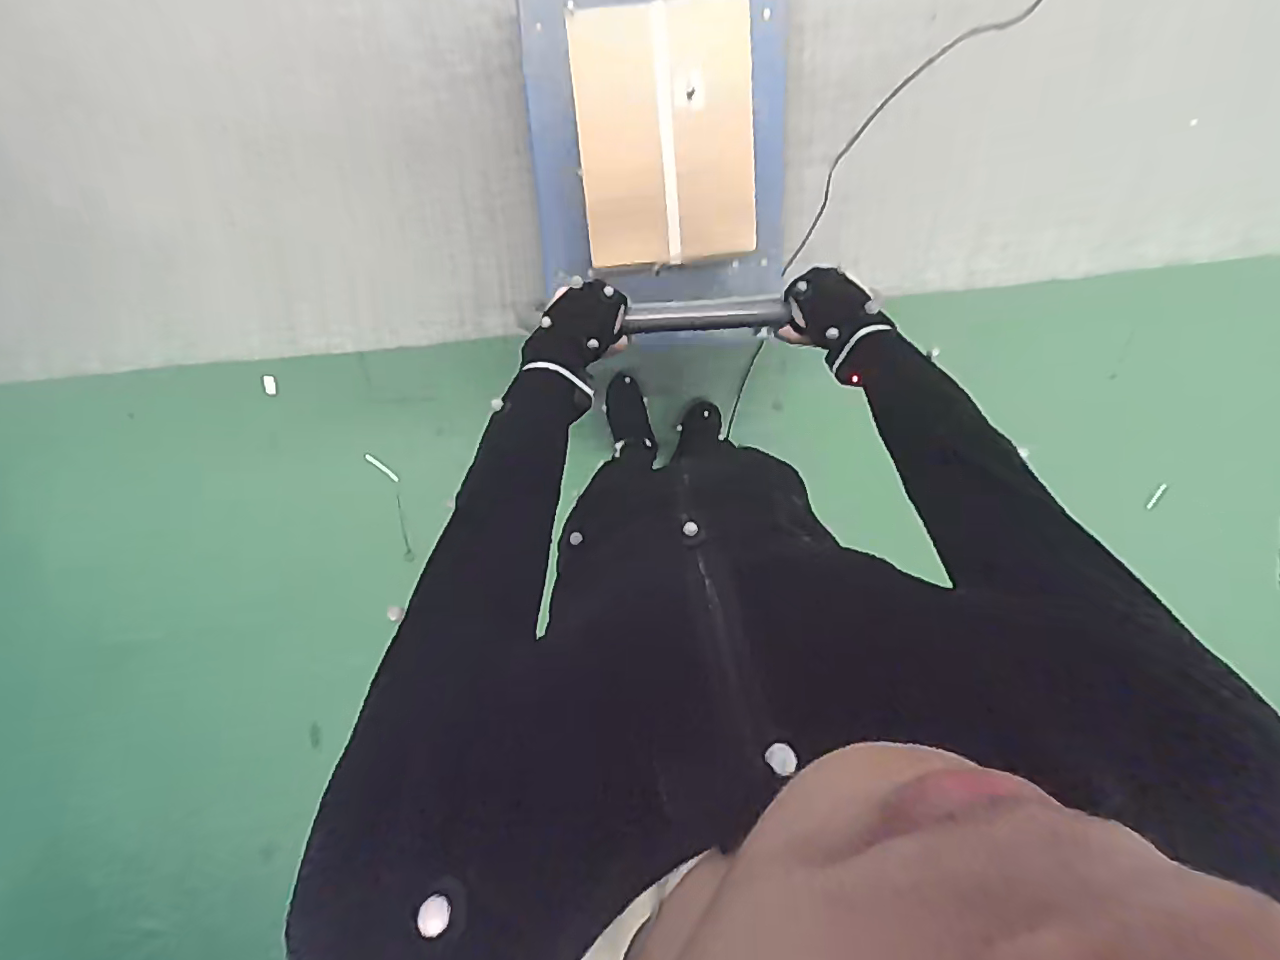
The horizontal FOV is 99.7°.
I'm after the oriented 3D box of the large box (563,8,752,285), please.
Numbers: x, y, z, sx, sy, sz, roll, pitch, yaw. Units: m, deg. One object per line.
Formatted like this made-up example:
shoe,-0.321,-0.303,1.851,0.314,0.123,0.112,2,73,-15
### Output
large box,0.040,-0.642,1.122,0.320,0.320,0.408,-6,106,0
